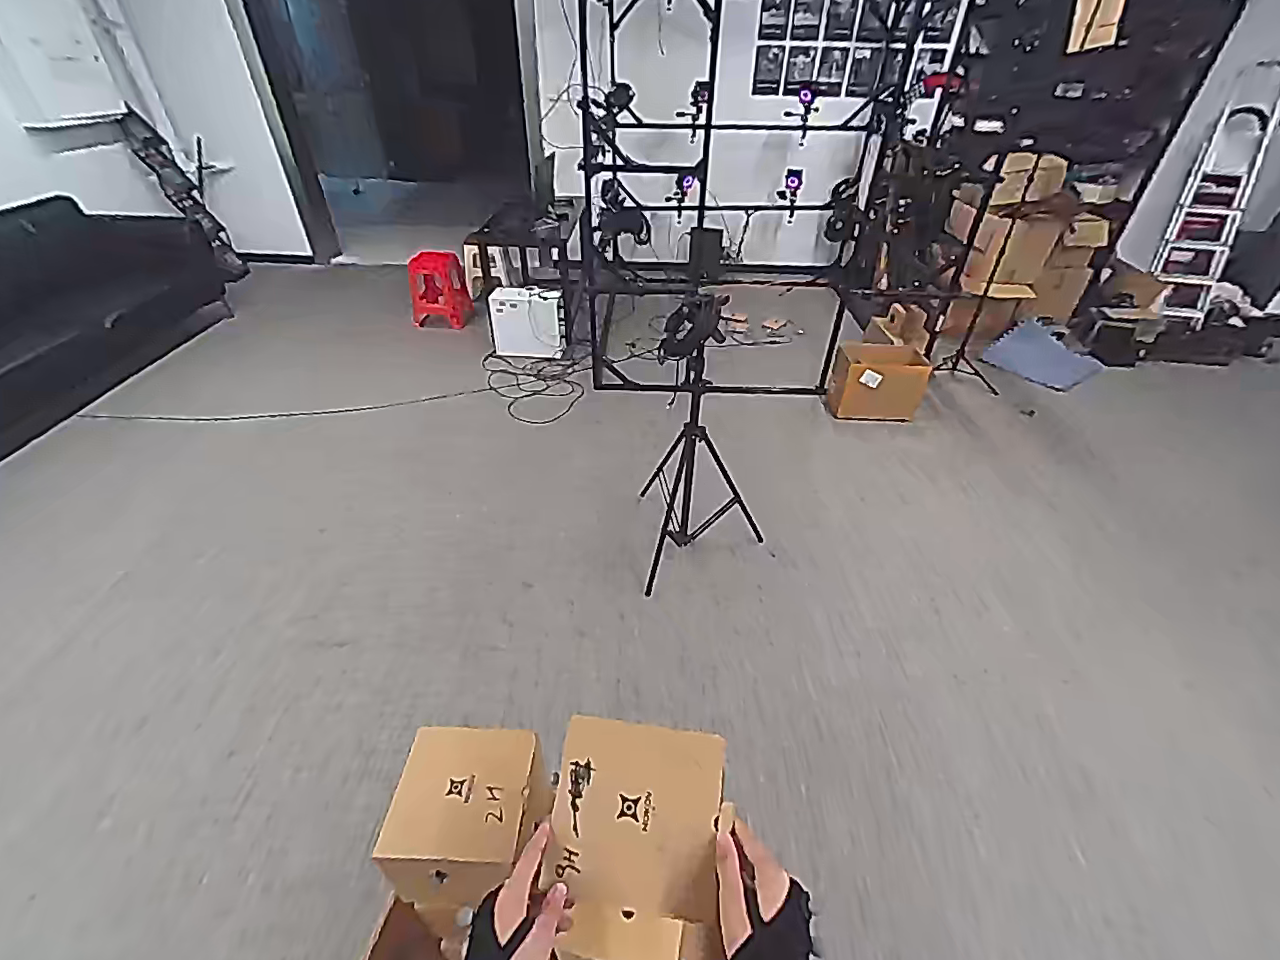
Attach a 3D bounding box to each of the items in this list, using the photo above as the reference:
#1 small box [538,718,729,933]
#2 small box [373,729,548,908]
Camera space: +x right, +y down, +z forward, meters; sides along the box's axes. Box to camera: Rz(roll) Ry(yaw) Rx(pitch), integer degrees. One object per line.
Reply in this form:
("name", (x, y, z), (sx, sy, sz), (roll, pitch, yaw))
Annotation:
("small box", (0.000, 0.387, 0.619), (0.179, 0.176, 0.168), (7, 57, 6))
("small box", (-0.234, 0.474, 0.759), (0.179, 0.176, 0.168), (3, 38, 1))
